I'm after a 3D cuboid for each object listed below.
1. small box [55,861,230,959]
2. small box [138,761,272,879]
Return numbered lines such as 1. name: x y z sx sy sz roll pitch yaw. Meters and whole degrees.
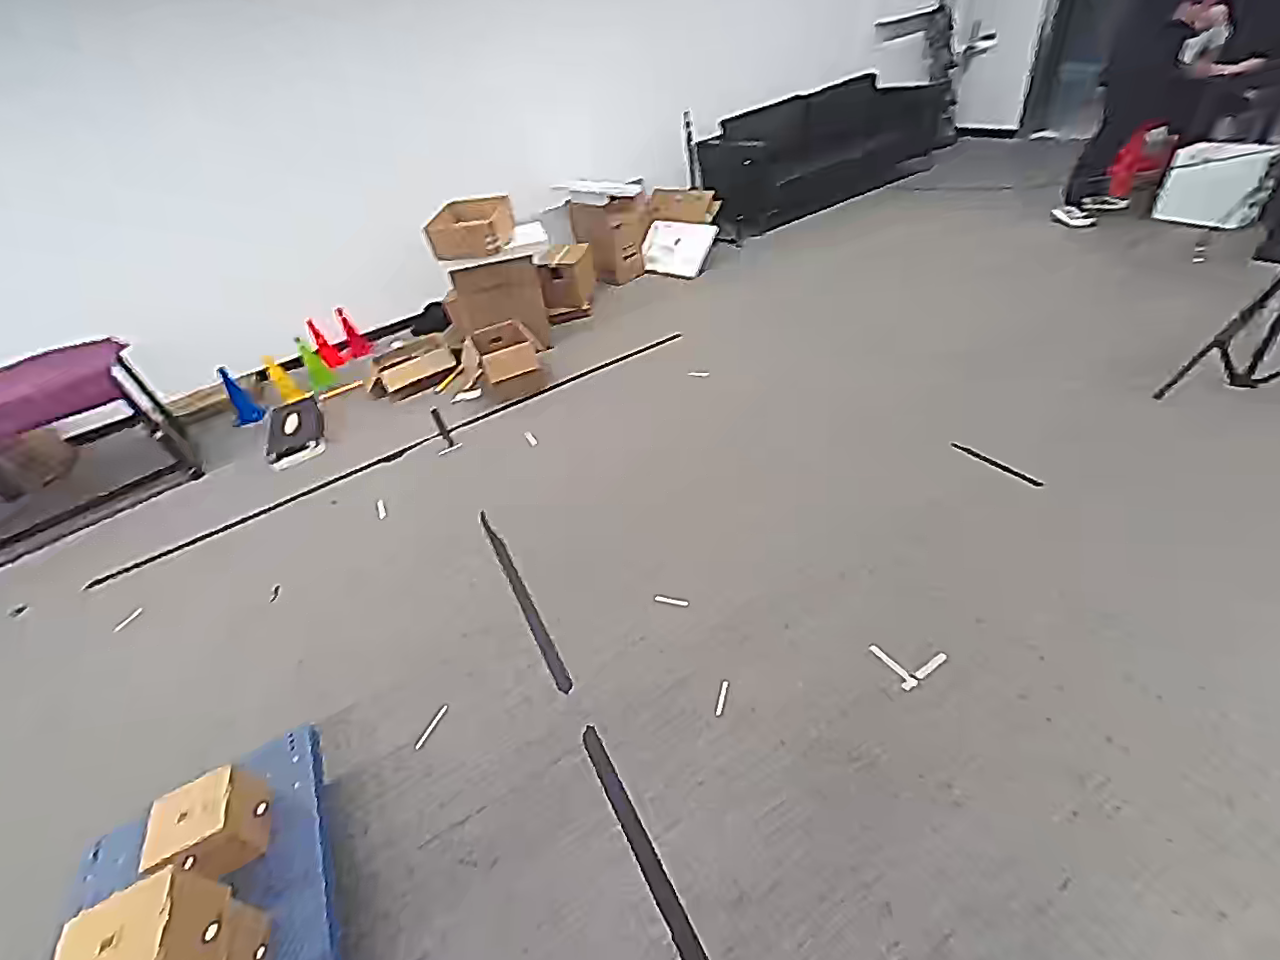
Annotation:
1. small box: -0.884 0.839 0.964 0.179 0.176 0.168 -25 40 -17
2. small box: -1.019 0.817 1.284 0.179 0.176 0.168 -24 41 -15
